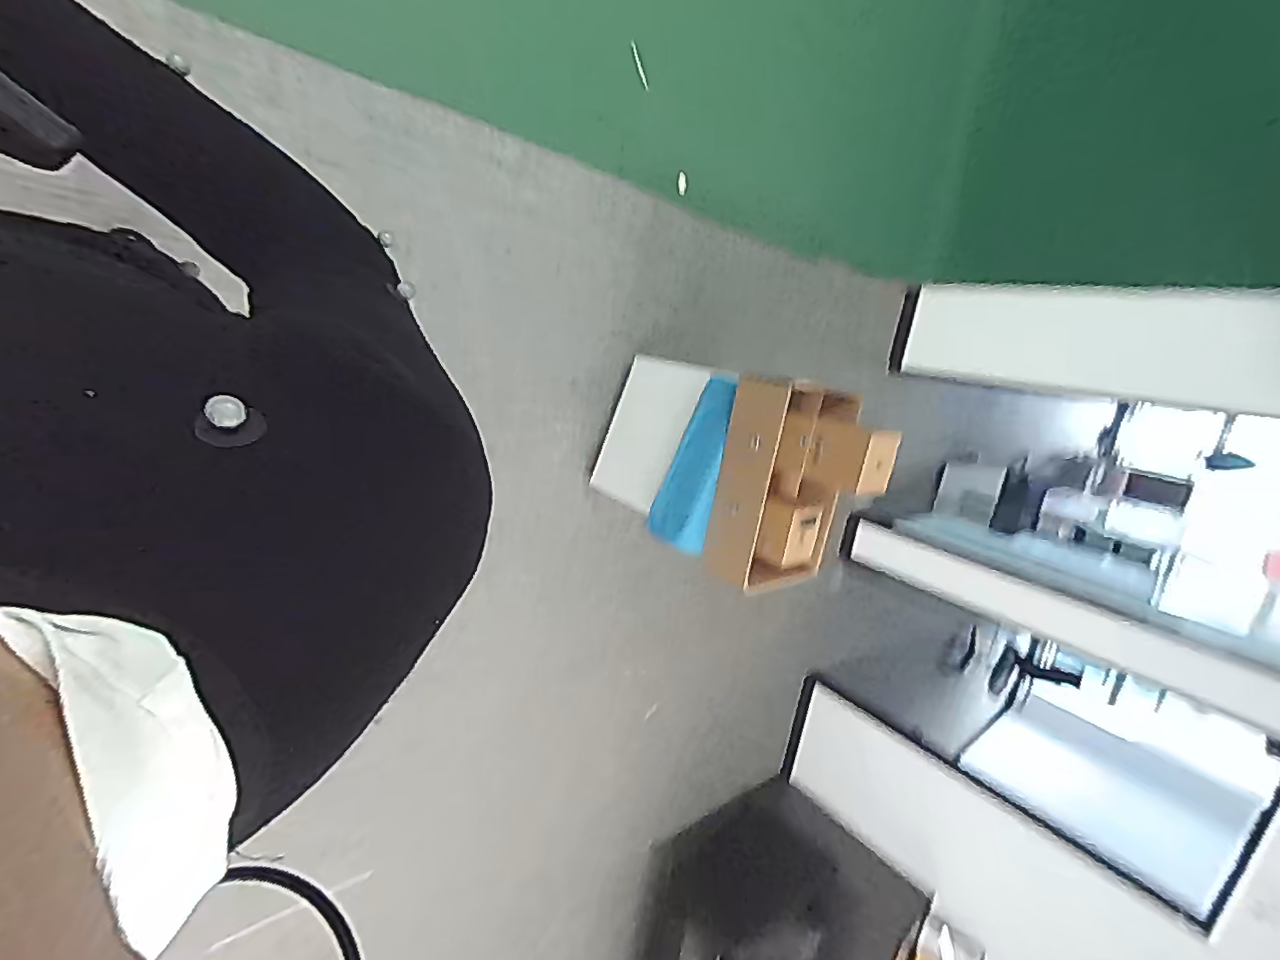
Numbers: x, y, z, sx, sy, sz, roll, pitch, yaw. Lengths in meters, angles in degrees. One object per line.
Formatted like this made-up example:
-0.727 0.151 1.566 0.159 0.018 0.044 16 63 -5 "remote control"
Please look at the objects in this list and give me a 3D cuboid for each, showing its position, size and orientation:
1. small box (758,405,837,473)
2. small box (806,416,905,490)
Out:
0.481 -0.125 1.599 0.179 0.176 0.168 -3 109 -42 "small box"
0.590 -0.078 1.487 0.179 0.176 0.168 -3 109 -41 "small box"
